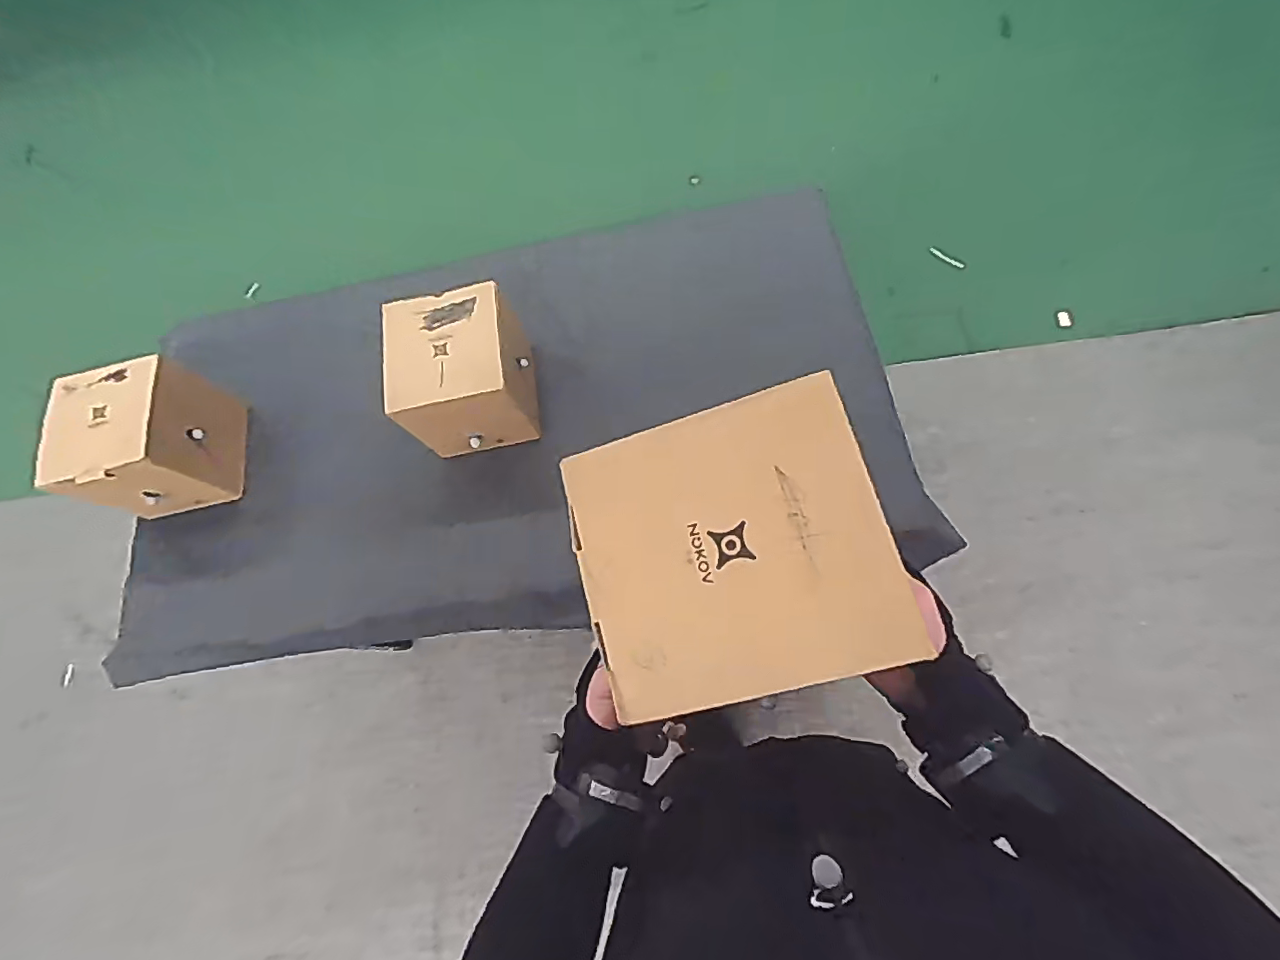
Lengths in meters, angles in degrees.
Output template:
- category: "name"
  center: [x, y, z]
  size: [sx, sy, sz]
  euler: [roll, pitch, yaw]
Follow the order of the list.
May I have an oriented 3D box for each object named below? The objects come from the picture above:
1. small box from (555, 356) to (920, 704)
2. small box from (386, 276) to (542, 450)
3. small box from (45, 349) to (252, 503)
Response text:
- category: "small box"
  center: [0.065, 0.042, 0.386]
  size: [0.179, 0.176, 0.168]
  euler: [-18, 77, 11]
- category: "small box"
  center: [-0.253, -0.165, 0.803]
  size: [0.168, 0.176, 0.179]
  euler: [-11, 72, 4]
- category: "small box"
  center: [-0.743, -0.071, 0.838]
  size: [0.168, 0.176, 0.179]
  euler: [-12, 71, 3]
